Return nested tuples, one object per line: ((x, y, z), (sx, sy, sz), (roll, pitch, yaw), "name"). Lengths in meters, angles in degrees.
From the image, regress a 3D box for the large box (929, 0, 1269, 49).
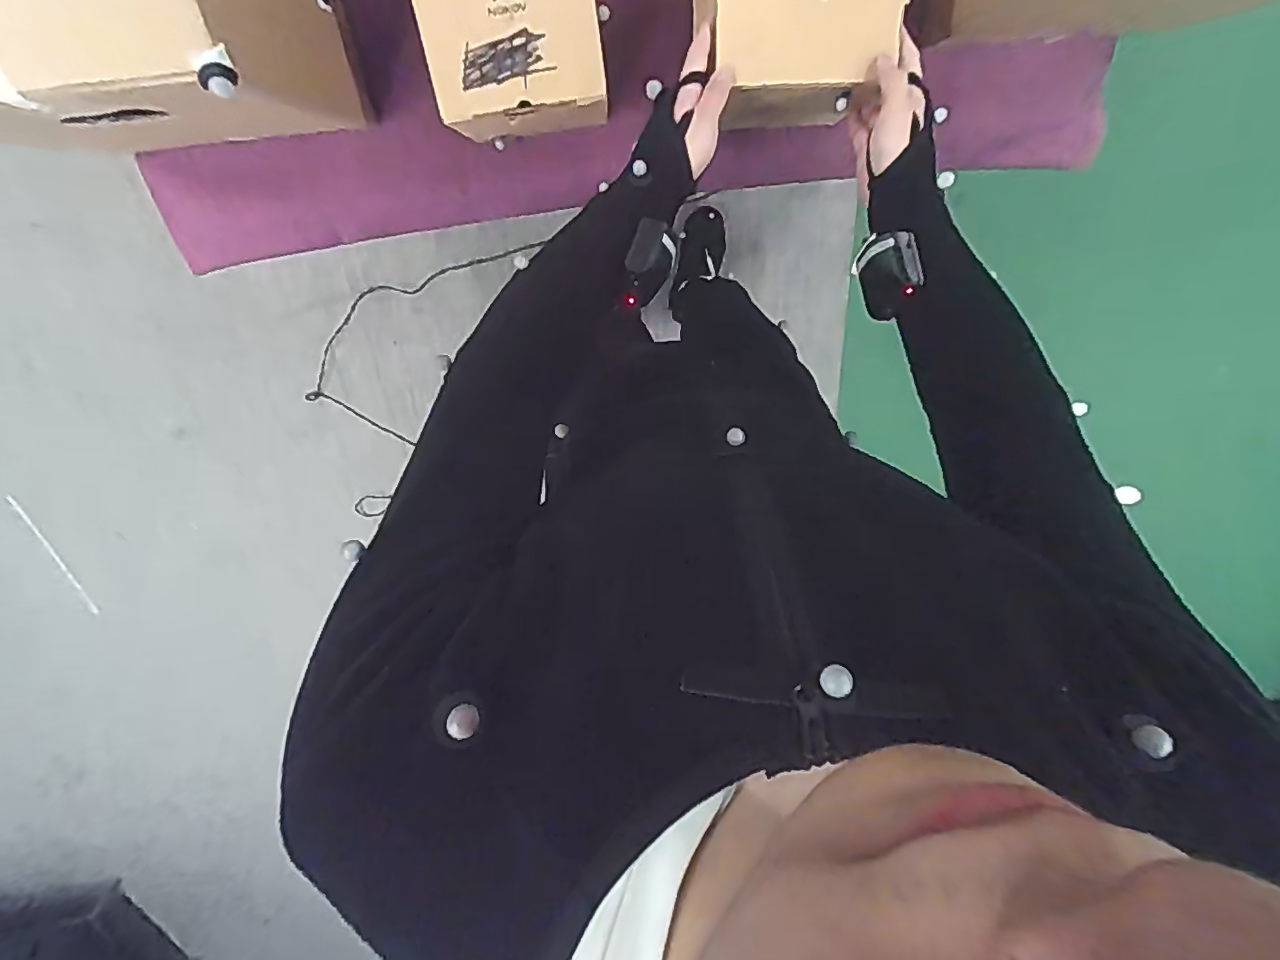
((0.489, -0.642, 0.437), (0.320, 0.320, 0.408), (-5, 118, 0), "large box")
